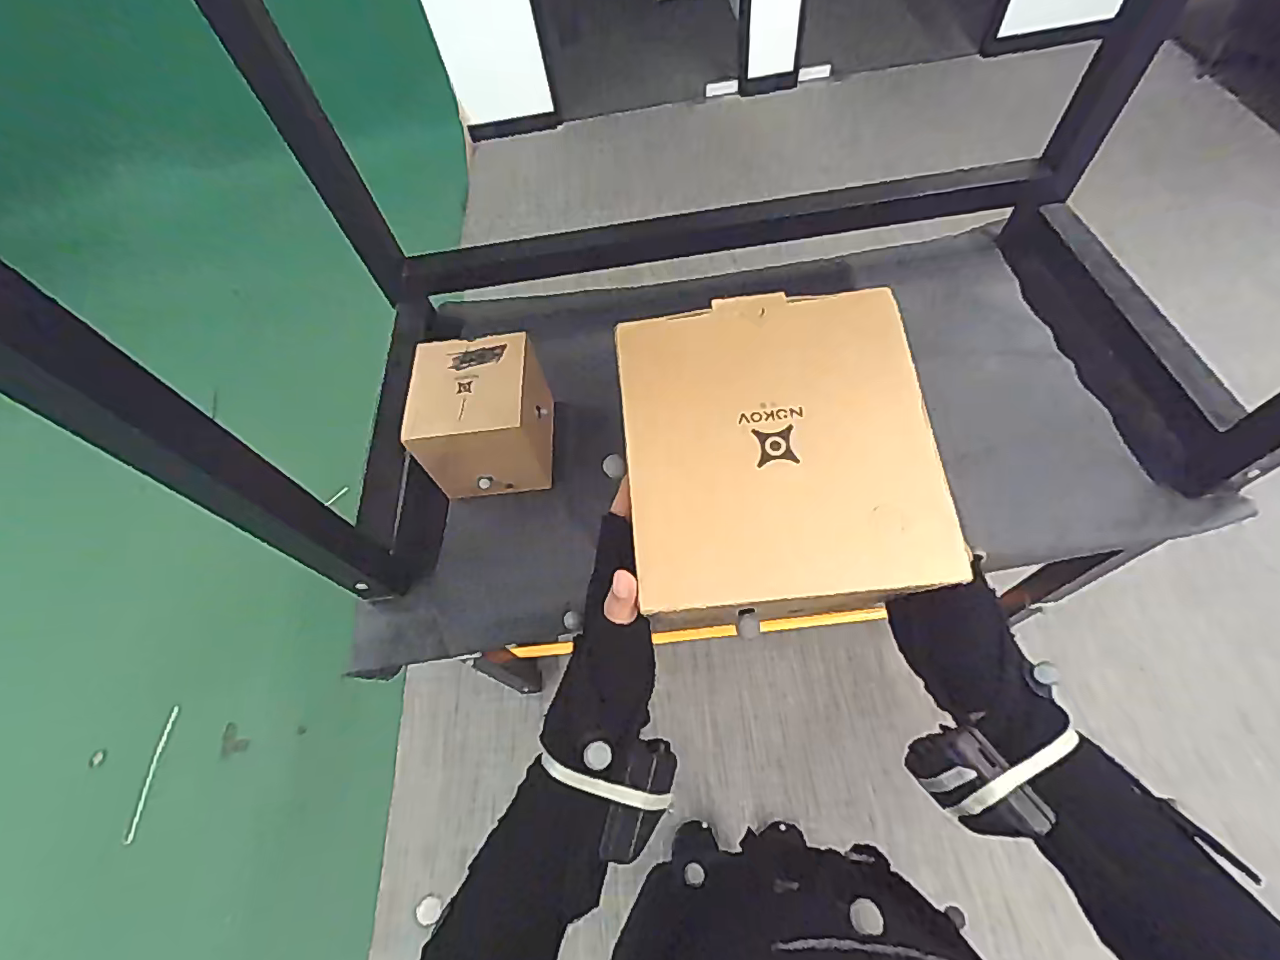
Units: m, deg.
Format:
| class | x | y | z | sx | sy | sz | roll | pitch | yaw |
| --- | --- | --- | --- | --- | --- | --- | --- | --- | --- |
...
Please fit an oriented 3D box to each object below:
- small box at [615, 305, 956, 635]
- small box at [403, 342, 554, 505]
| class | x | y | z | sx | sy | sz | roll | pitch | yaw |
| --- | --- | --- | --- | --- | --- | --- | --- | --- | --- |
| small box | 0.080 | 0.011 | 0.376 | 0.168 | 0.176 | 0.179 | -7 | 70 | 4 |
| small box | -0.231 | -0.082 | 0.824 | 0.168 | 0.176 | 0.179 | -6 | 59 | 4 |
